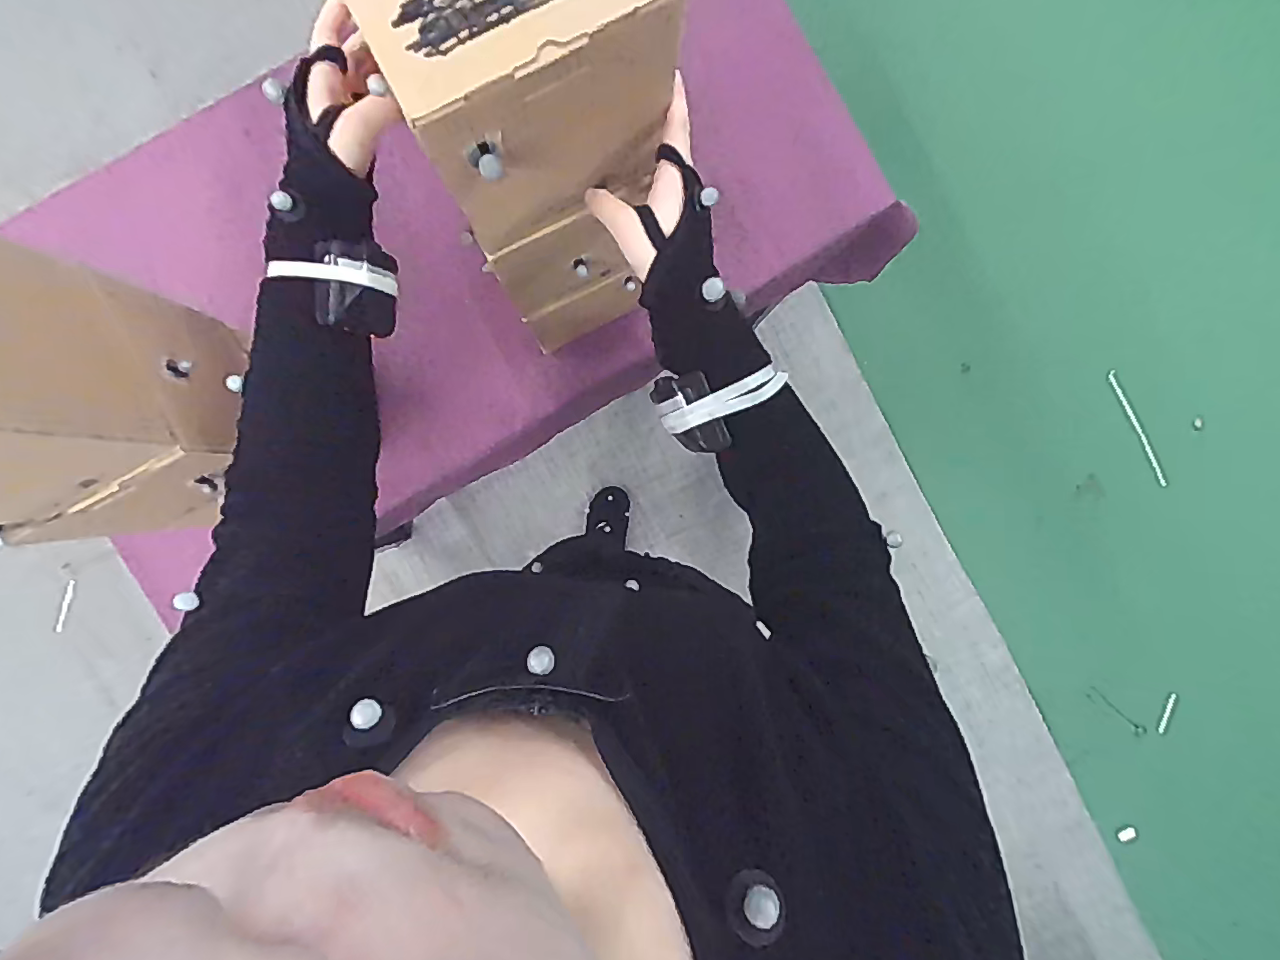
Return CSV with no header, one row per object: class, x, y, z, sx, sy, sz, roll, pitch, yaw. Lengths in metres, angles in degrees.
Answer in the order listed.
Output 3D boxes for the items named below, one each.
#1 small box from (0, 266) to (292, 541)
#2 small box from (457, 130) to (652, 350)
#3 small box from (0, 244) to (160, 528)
small box,-0.482,-0.063,0.515,0.168,0.176,0.179,-27,91,-2
small box,-0.098,-0.289,0.694,0.179,0.176,0.168,-28,91,-2
small box,-0.483,-0.063,0.350,0.168,0.176,0.179,-31,91,-3
